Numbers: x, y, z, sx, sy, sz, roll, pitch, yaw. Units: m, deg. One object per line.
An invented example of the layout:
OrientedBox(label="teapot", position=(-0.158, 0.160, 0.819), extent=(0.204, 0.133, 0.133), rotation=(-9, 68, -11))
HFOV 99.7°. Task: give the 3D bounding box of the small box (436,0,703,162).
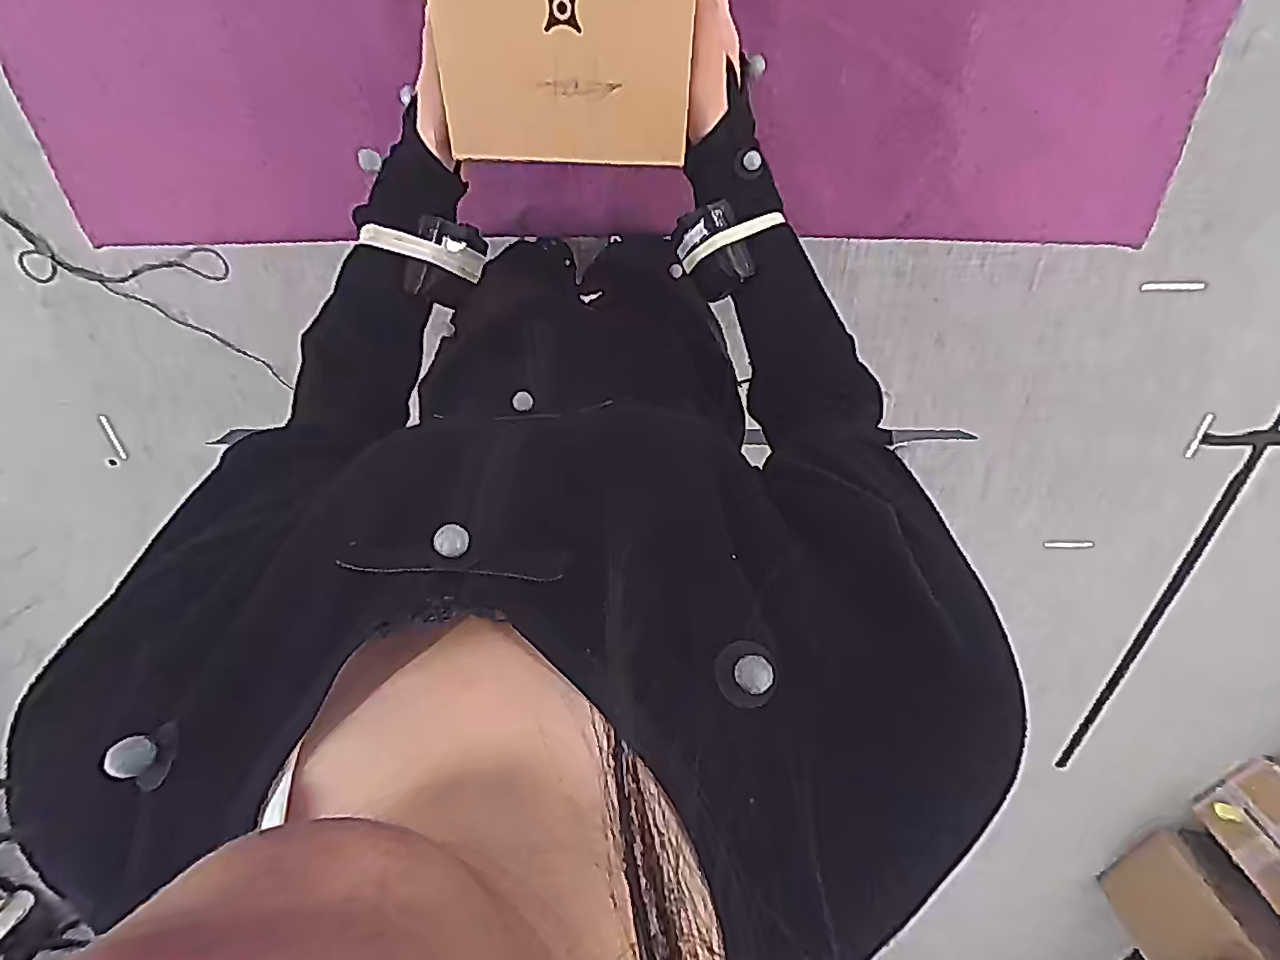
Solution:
OrientedBox(label="small box", position=(-0.043, -0.346, 0.387), extent=(0.168, 0.176, 0.179), rotation=(2, 132, 0))

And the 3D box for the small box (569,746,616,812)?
OrientedBox(label="small box", position=(-0.188, 1.213, 2.195), extent=(0.168, 0.176, 0.179), rotation=(-6, 120, 3))
